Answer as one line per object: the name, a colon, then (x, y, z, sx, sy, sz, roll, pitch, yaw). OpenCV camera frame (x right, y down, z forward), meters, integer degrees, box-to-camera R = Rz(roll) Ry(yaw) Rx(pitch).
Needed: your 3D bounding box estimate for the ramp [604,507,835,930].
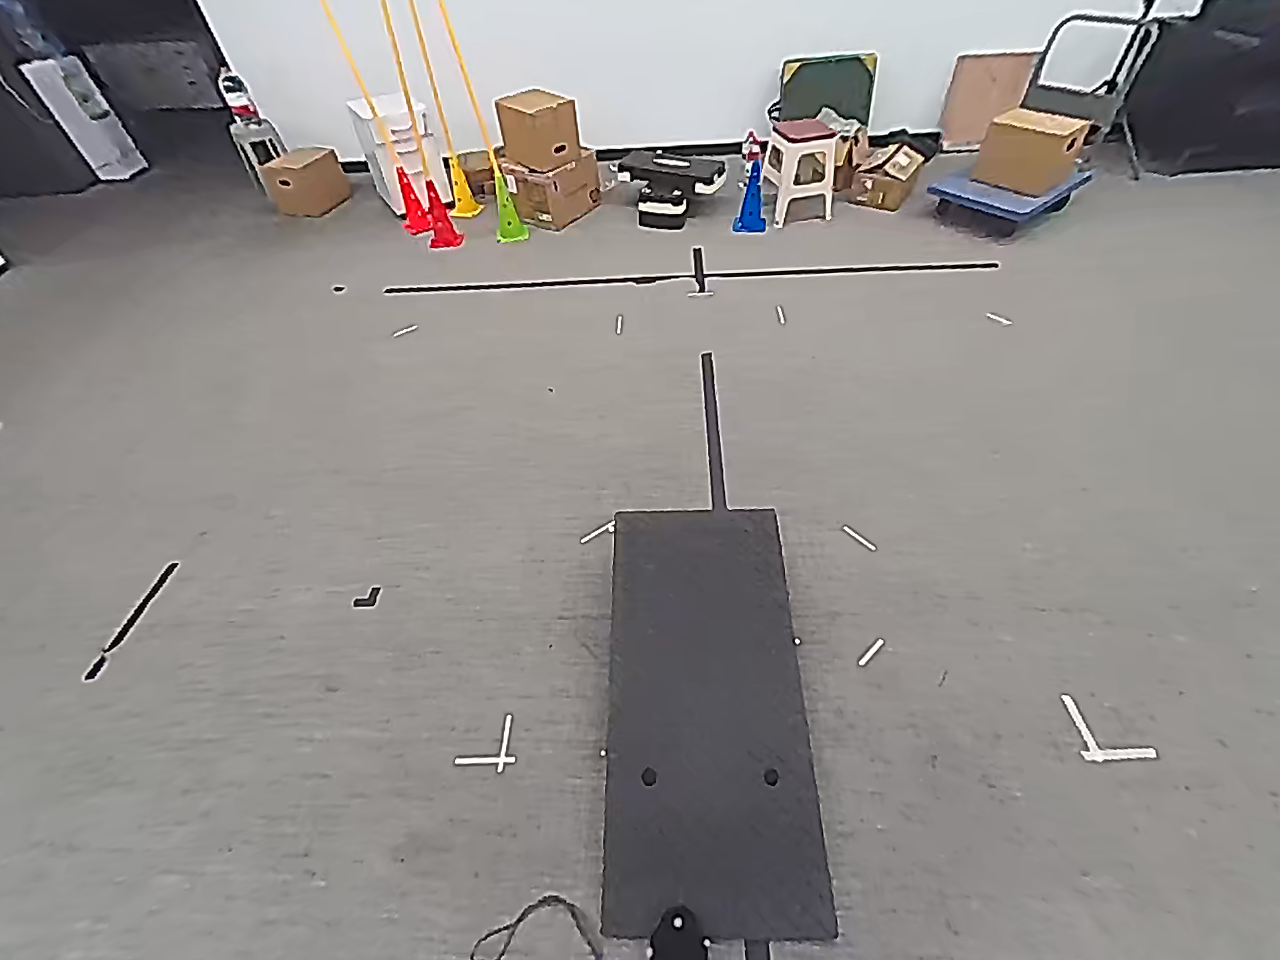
ramp: (0.166, 0.514, 1.388, 0.509, 0.206, 0.991, -2, 48, 1)
